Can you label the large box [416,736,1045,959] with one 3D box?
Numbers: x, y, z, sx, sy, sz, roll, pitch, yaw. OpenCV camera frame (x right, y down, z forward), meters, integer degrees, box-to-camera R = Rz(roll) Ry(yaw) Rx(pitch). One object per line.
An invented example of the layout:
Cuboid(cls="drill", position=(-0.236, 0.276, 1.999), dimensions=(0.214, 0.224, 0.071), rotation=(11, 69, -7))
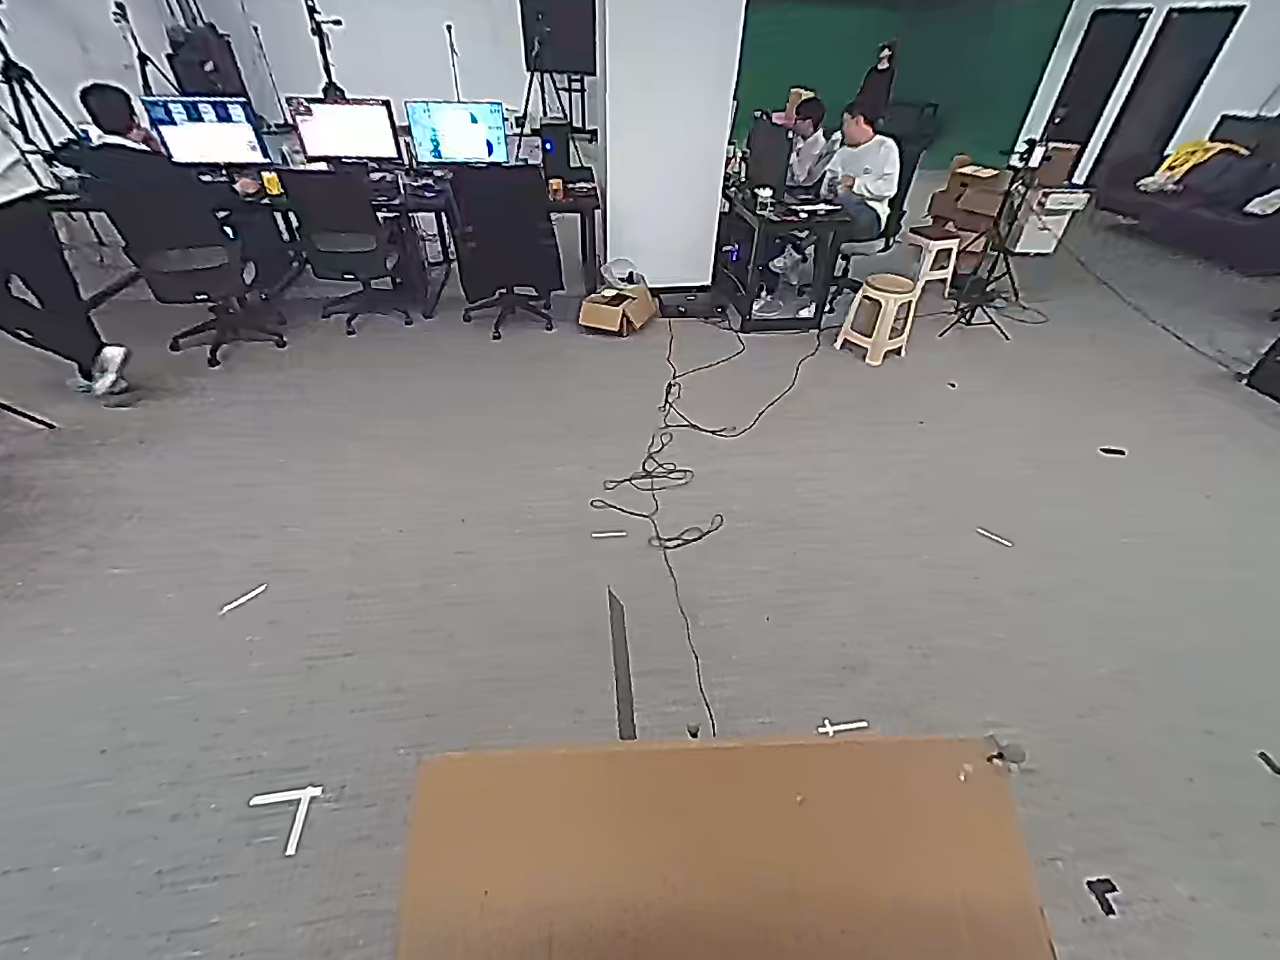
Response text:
Cuboid(cls="large box", position=(0.059, 0.399, 0.461), dimensions=(0.408, 0.320, 0.320), rotation=(-3, 66, 1))
